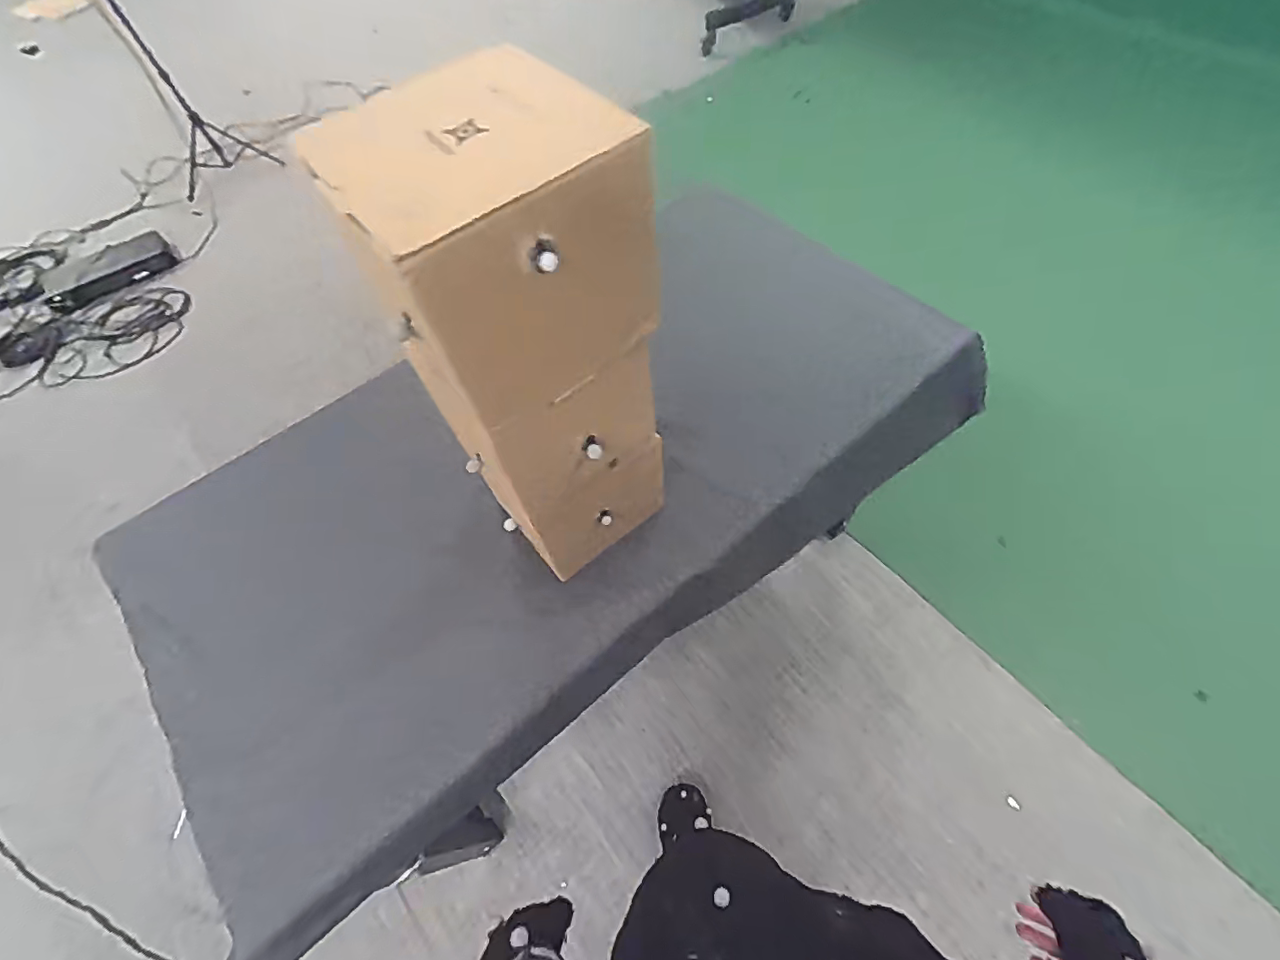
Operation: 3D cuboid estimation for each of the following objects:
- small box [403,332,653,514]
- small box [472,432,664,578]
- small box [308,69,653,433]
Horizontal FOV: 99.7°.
[{"bbox_3d":[-0.100,-0.086,0.560,0.168,0.176,0.179,-38,64,-16],"label":"small box"},{"bbox_3d":[-0.084,-0.006,0.701,0.179,0.176,0.168,-37,63,-15],"label":"small box"},{"bbox_3d":[-0.102,-0.169,0.419,0.179,0.176,0.168,-36,64,-17],"label":"small box"}]
